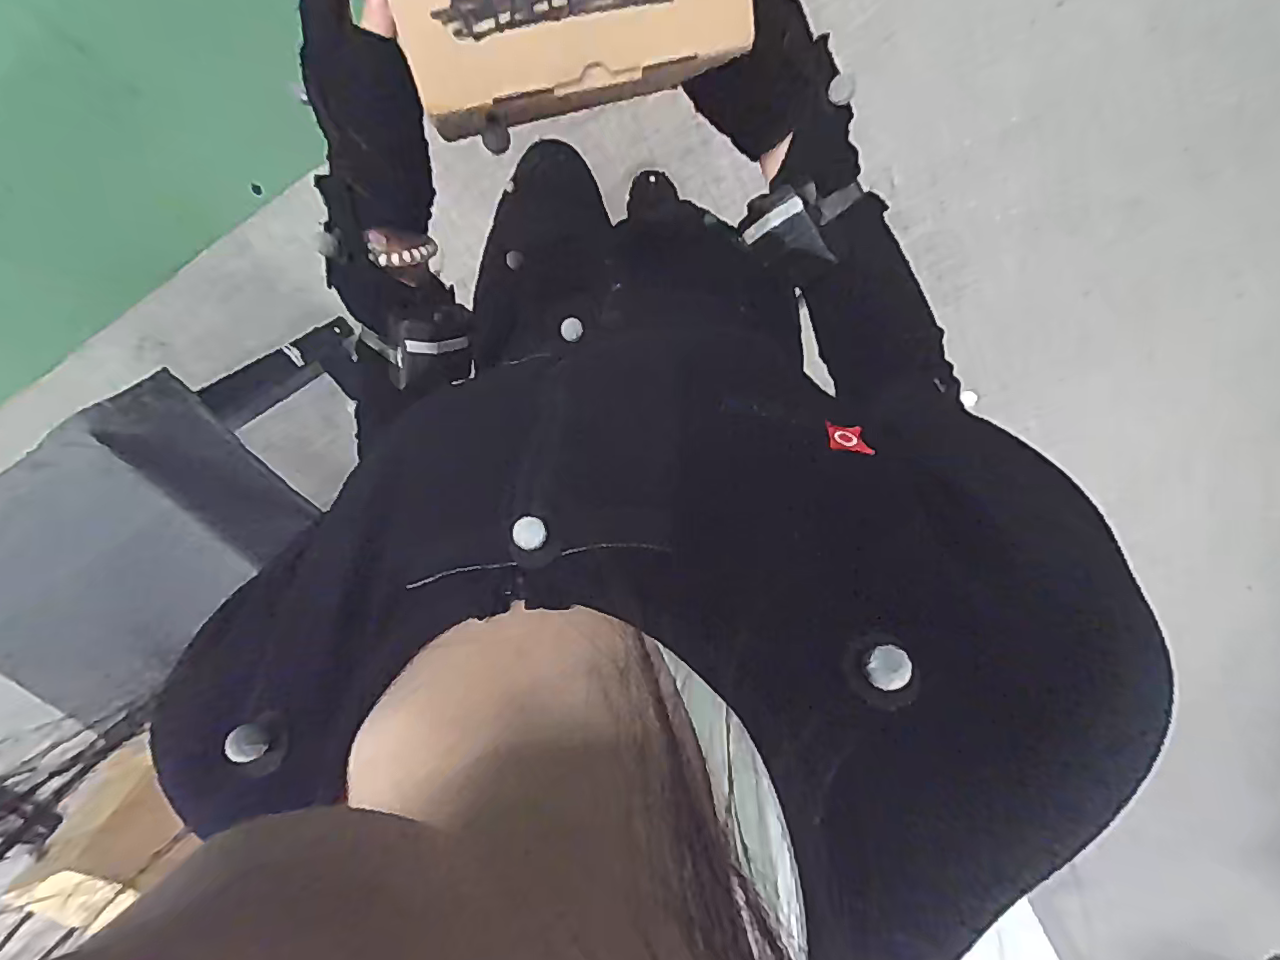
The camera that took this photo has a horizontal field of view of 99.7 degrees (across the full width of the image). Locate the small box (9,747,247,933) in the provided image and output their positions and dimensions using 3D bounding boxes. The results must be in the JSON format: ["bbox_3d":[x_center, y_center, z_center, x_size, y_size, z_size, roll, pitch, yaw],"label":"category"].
[{"bbox_3d":[-0.769,0.551,0.835,0.179,0.176,0.168,-28,117,15],"label":"small box"}]

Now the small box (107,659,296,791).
[{"bbox_3d":[-0.761,0.450,0.966,0.179,0.176,0.168,-25,117,16],"label":"small box"}]
